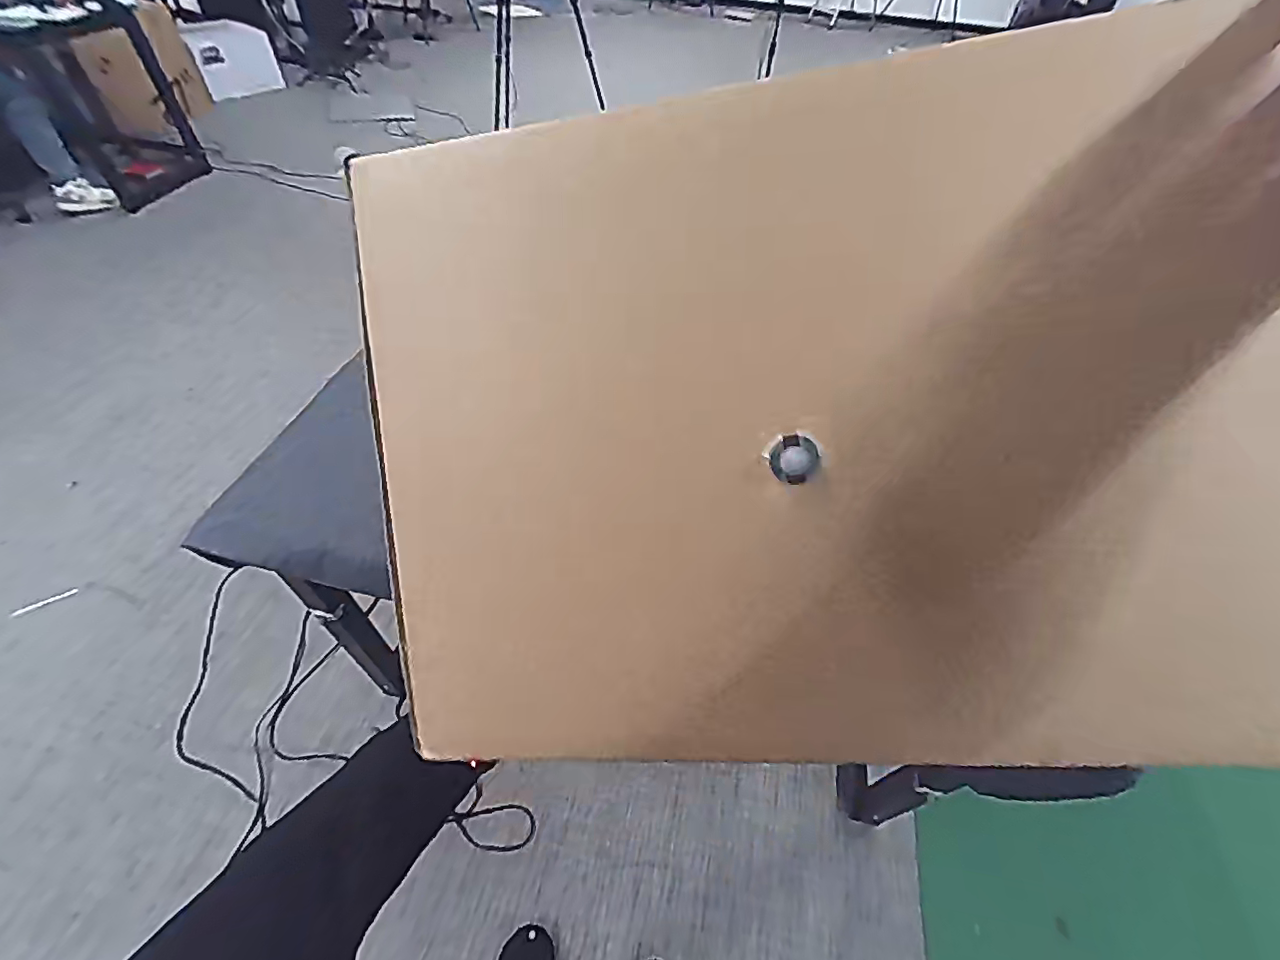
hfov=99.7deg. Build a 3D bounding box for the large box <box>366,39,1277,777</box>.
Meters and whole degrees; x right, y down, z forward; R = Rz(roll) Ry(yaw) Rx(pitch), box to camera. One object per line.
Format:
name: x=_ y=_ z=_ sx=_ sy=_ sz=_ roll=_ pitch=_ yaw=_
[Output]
large box: x=0.096 y=-0.023 z=0.402 sx=0.408 sy=0.320 sz=0.320 roll=-7 pitch=93 yaw=8
